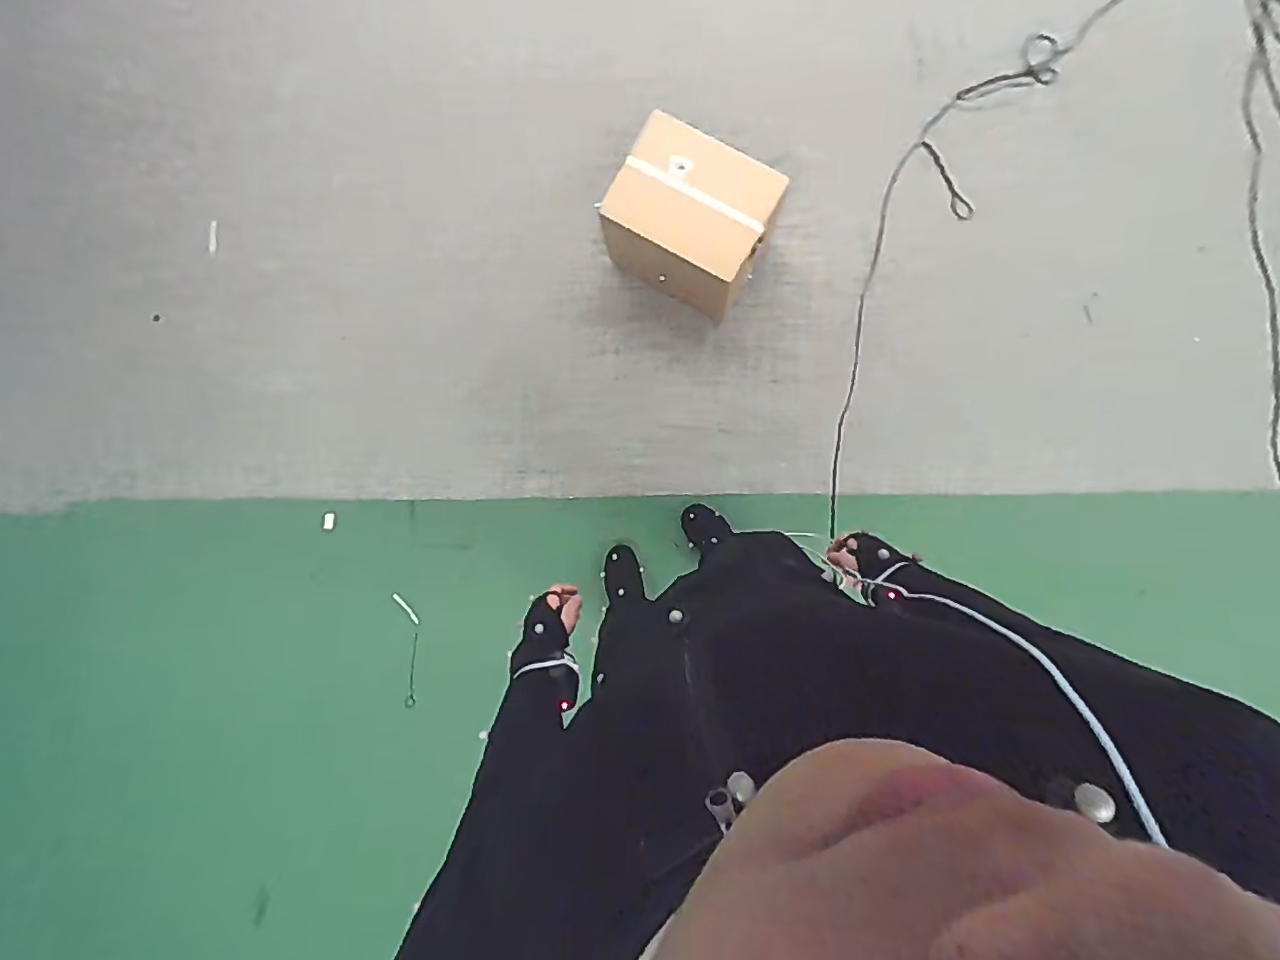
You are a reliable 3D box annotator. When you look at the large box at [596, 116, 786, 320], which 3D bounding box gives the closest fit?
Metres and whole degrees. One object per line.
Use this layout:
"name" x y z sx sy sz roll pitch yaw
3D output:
"large box" 0.144 -0.720 1.540 0.408 0.320 0.320 30 89 6
